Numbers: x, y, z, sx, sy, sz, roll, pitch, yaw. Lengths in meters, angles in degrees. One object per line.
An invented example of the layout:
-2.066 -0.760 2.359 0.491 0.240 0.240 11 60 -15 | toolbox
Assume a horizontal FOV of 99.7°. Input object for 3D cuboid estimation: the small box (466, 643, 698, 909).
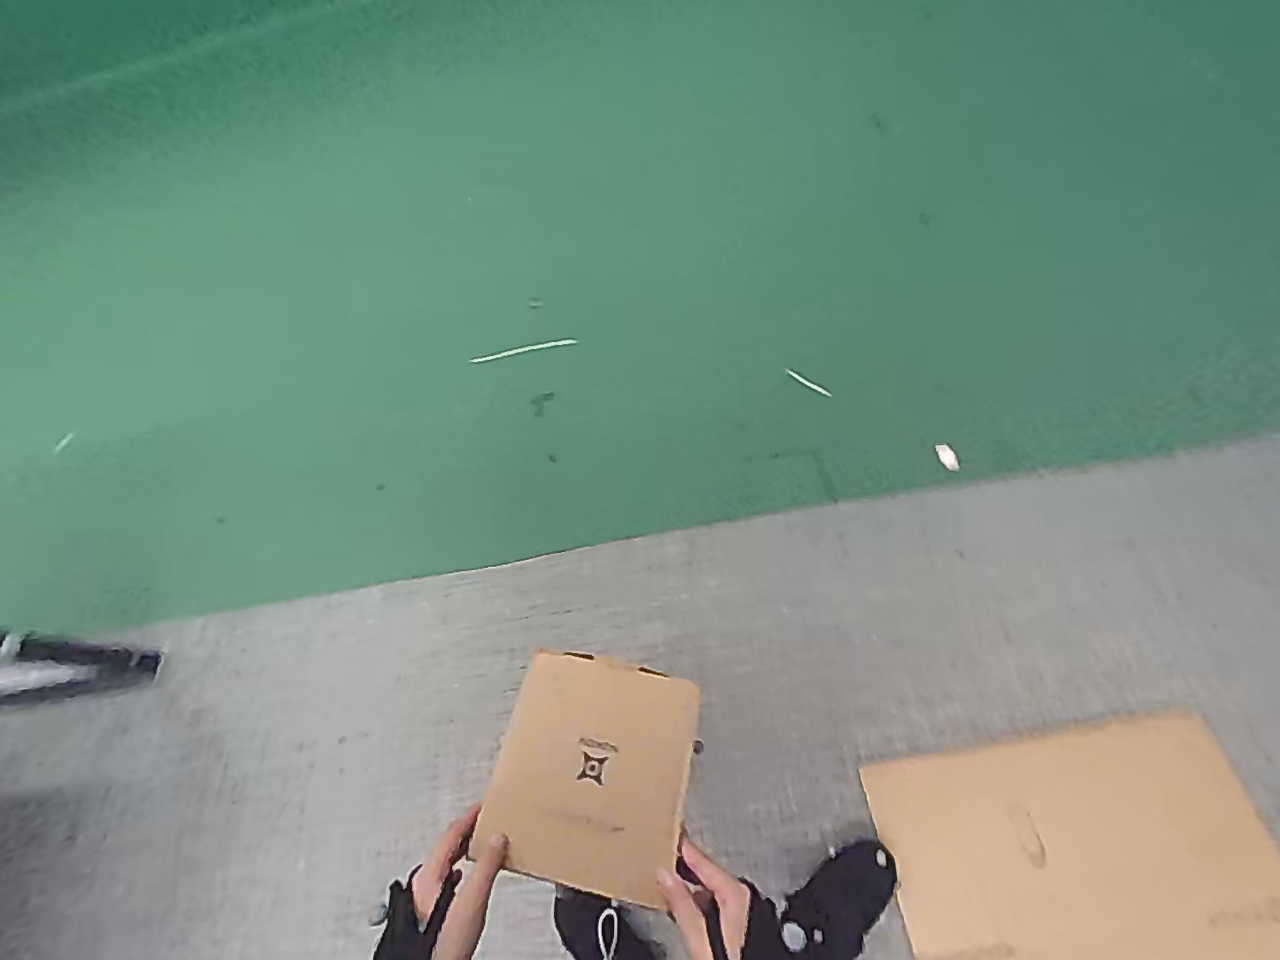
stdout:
-0.043 0.283 0.528 0.168 0.176 0.179 9 58 6 | small box
